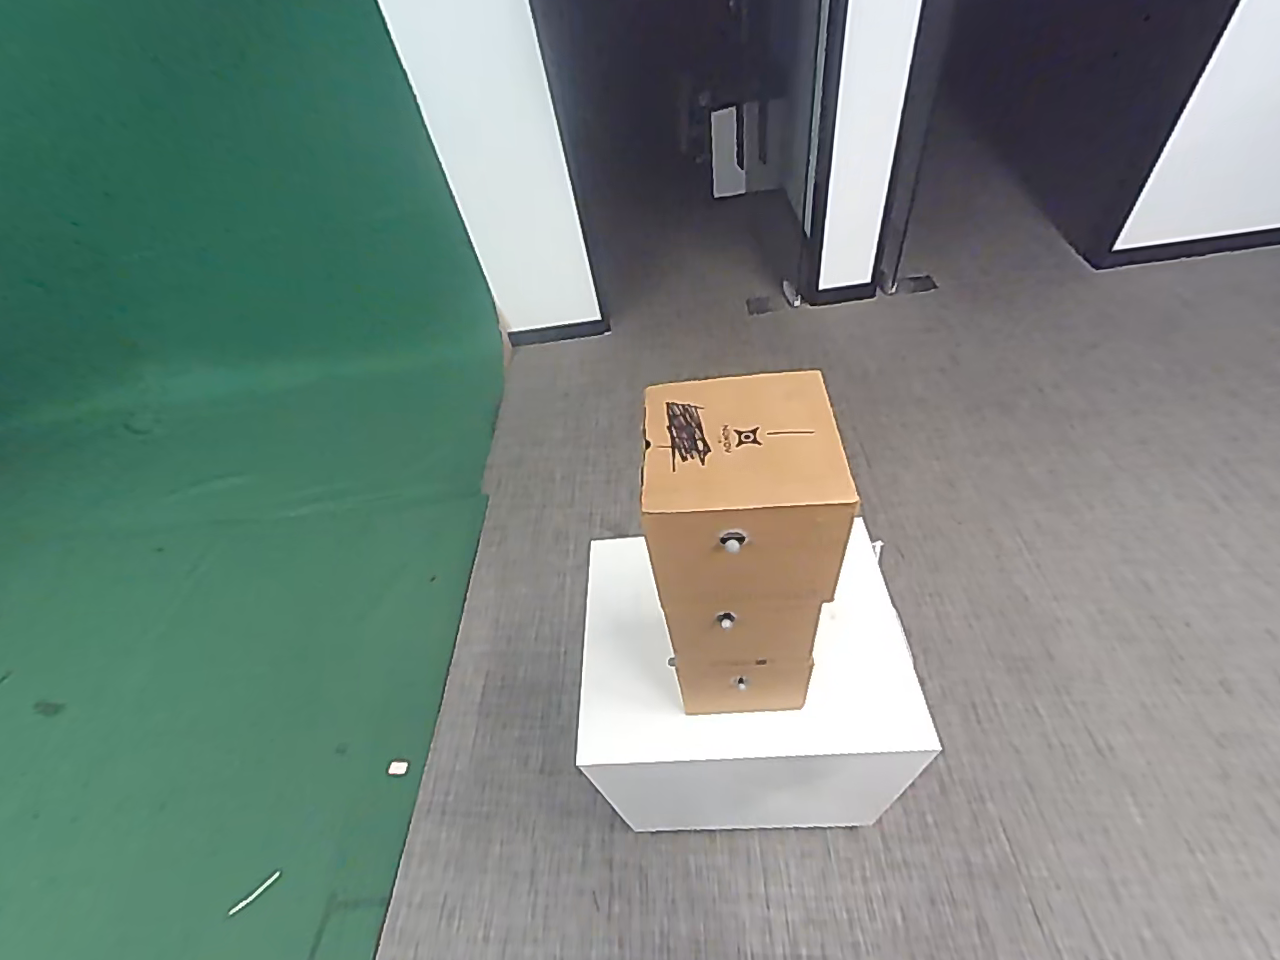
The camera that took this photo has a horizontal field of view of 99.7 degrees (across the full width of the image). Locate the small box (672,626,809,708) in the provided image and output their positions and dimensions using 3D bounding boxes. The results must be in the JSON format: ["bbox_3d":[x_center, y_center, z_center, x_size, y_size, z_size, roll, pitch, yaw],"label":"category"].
[{"bbox_3d":[0.141,0.228,0.801,0.179,0.176,0.168,-5,49,6],"label":"small box"}]

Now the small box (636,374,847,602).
[{"bbox_3d":[0.098,0.014,0.555,0.179,0.176,0.168,-4,49,8],"label":"small box"}]

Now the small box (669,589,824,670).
[{"bbox_3d":[0.120,0.120,0.683,0.168,0.176,0.179,-6,49,5],"label":"small box"}]
